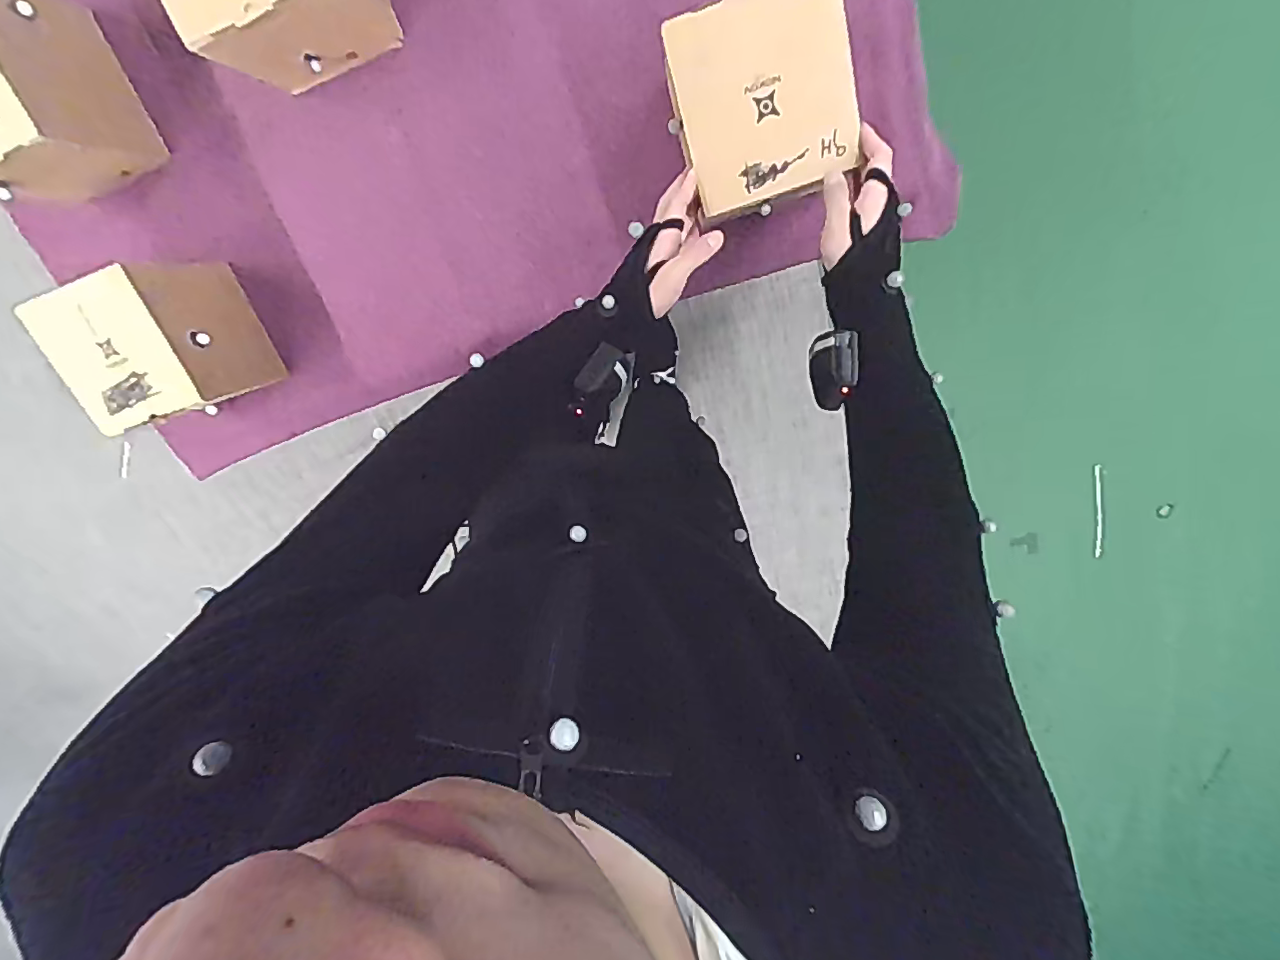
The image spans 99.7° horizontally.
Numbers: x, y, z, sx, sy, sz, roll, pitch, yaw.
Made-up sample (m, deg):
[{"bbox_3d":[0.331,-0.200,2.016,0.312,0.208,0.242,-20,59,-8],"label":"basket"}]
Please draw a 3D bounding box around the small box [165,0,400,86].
[{"bbox_3d":[-0.392,-0.559,0.565,0.168,0.176,0.179,-16,112,9],"label":"small box"}]

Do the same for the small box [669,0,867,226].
[{"bbox_3d":[0.132,-0.400,0.597,0.168,0.176,0.179,-14,110,10],"label":"small box"}]

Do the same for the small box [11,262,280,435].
[{"bbox_3d":[-0.645,-0.184,0.735,0.168,0.176,0.179,-16,110,9],"label":"small box"}]
